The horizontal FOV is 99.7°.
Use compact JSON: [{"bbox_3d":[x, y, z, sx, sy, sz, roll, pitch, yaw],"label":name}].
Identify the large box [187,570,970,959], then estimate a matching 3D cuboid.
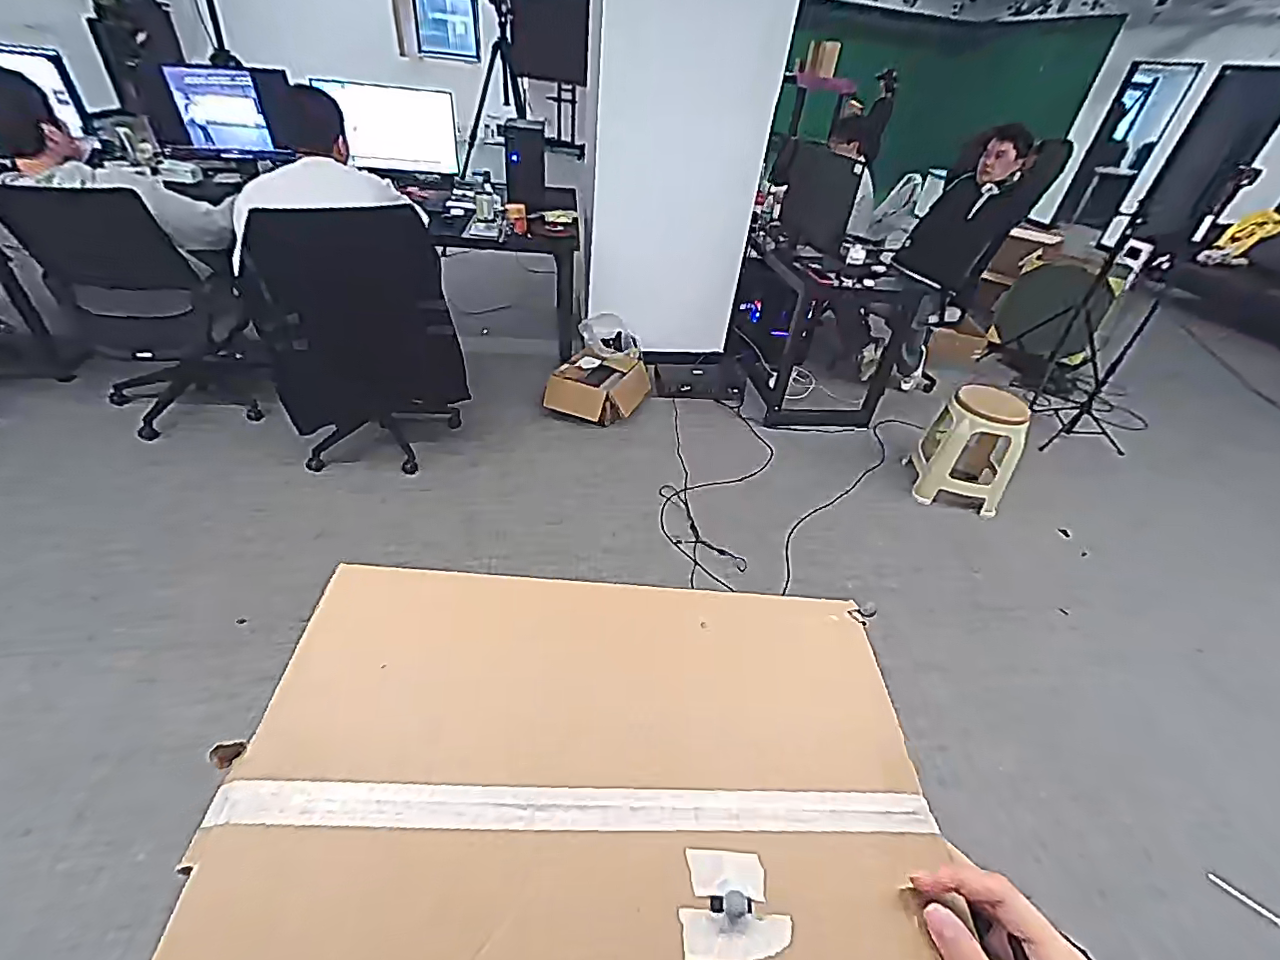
[{"bbox_3d":[-0.042,0.298,0.426,0.408,0.320,0.320,6,44,-8],"label":"large box"}]
